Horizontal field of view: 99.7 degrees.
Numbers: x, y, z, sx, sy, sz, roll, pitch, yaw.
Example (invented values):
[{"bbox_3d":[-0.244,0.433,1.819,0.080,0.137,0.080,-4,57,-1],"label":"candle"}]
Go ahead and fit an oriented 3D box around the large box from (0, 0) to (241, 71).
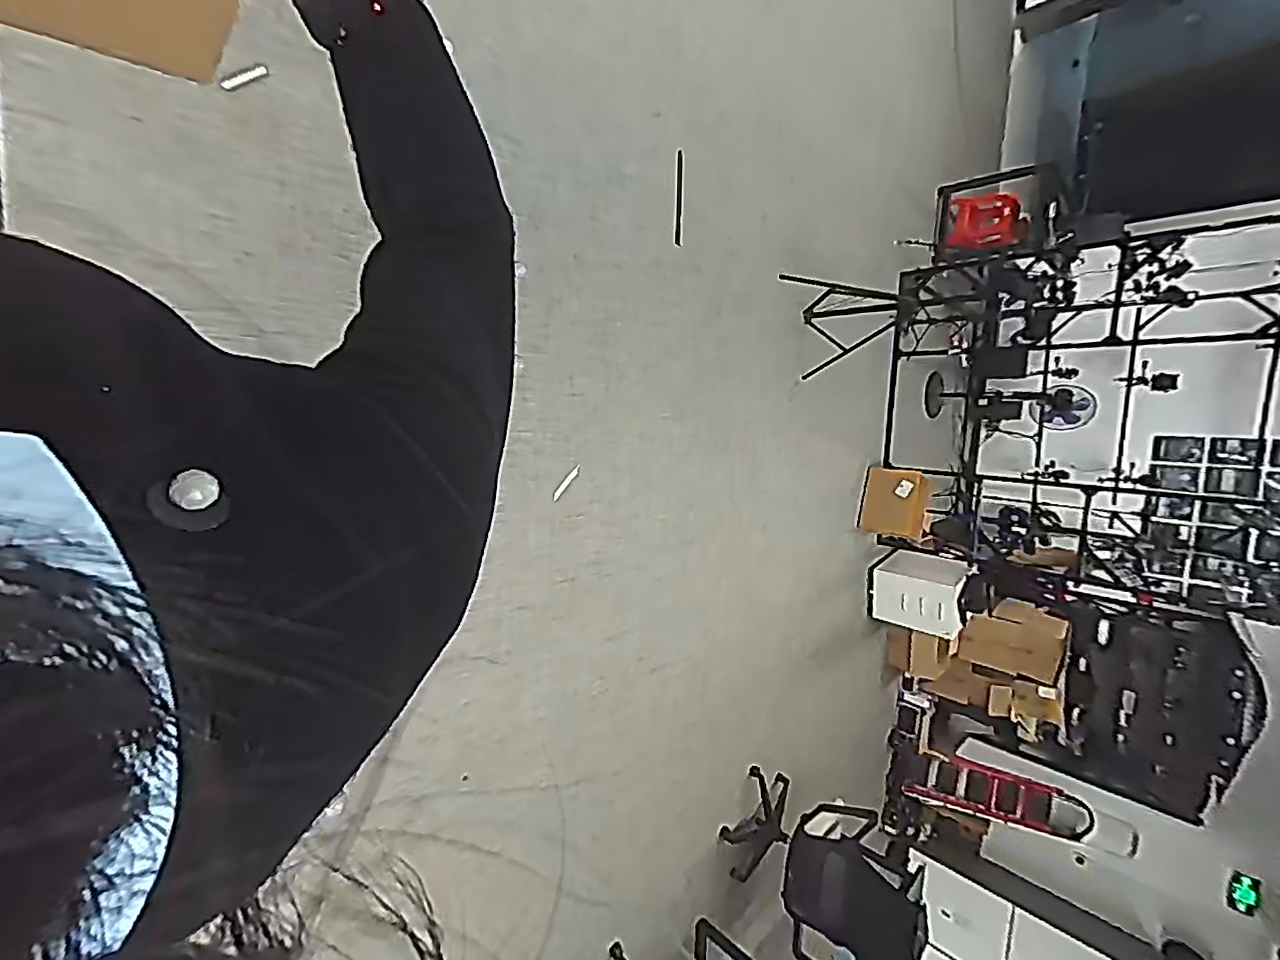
[{"bbox_3d":[-0.492,-0.527,0.306,0.408,0.320,0.320,-9,102,-42],"label":"large box"}]
